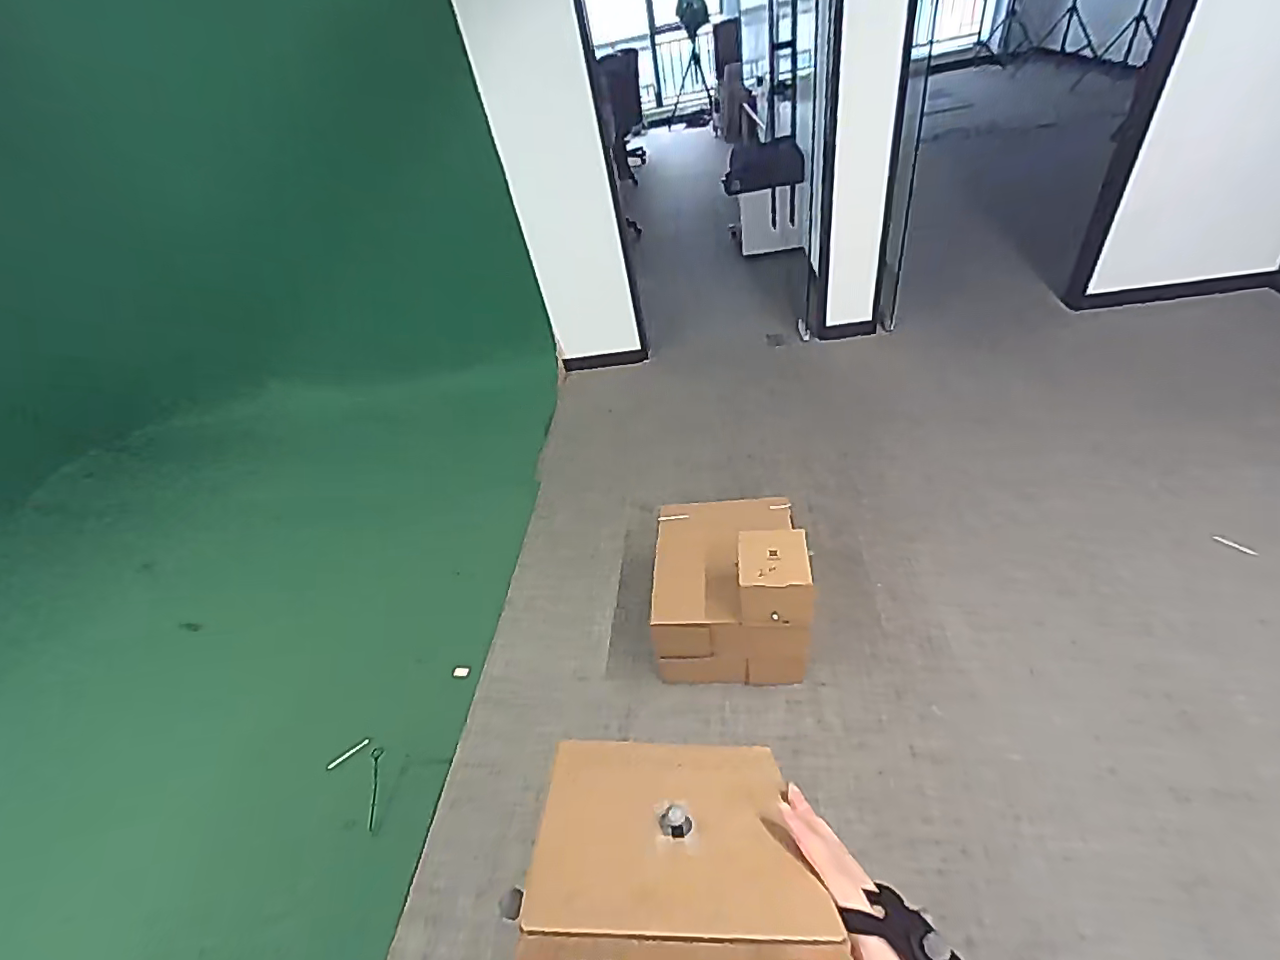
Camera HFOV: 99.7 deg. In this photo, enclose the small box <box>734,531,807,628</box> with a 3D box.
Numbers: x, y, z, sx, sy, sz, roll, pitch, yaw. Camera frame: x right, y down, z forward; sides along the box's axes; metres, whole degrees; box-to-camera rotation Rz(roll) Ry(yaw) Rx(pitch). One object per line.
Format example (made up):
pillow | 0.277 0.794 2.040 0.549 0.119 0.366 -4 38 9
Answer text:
small box | 0.320 0.248 1.351 0.168 0.176 0.179 -3 41 11
